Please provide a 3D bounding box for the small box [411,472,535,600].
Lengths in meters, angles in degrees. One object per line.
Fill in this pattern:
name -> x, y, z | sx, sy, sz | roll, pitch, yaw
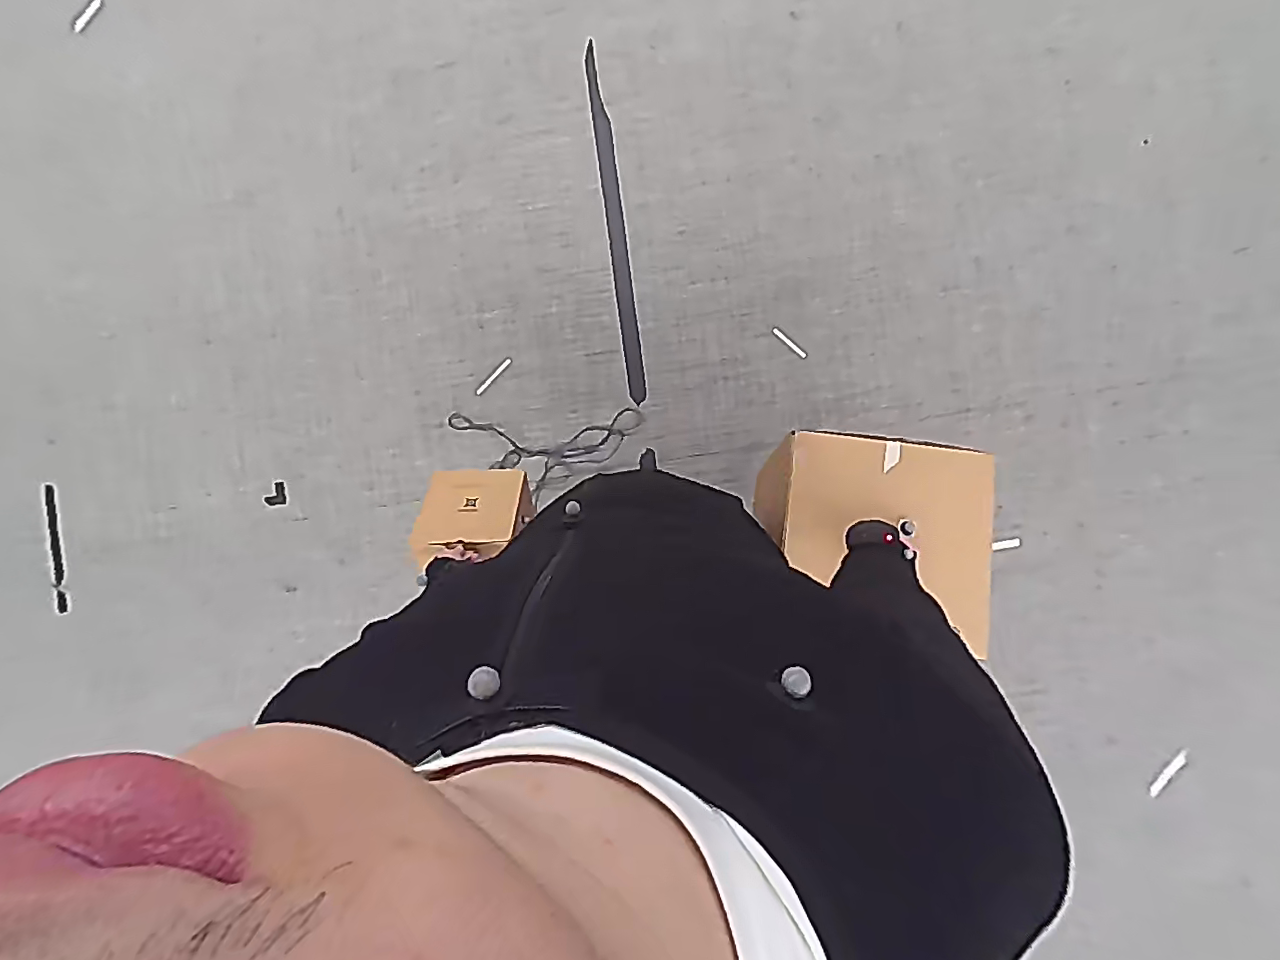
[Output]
small box -> -0.291, 0.106, 0.989 | 0.168, 0.179, 0.176 | -1, 133, -1
